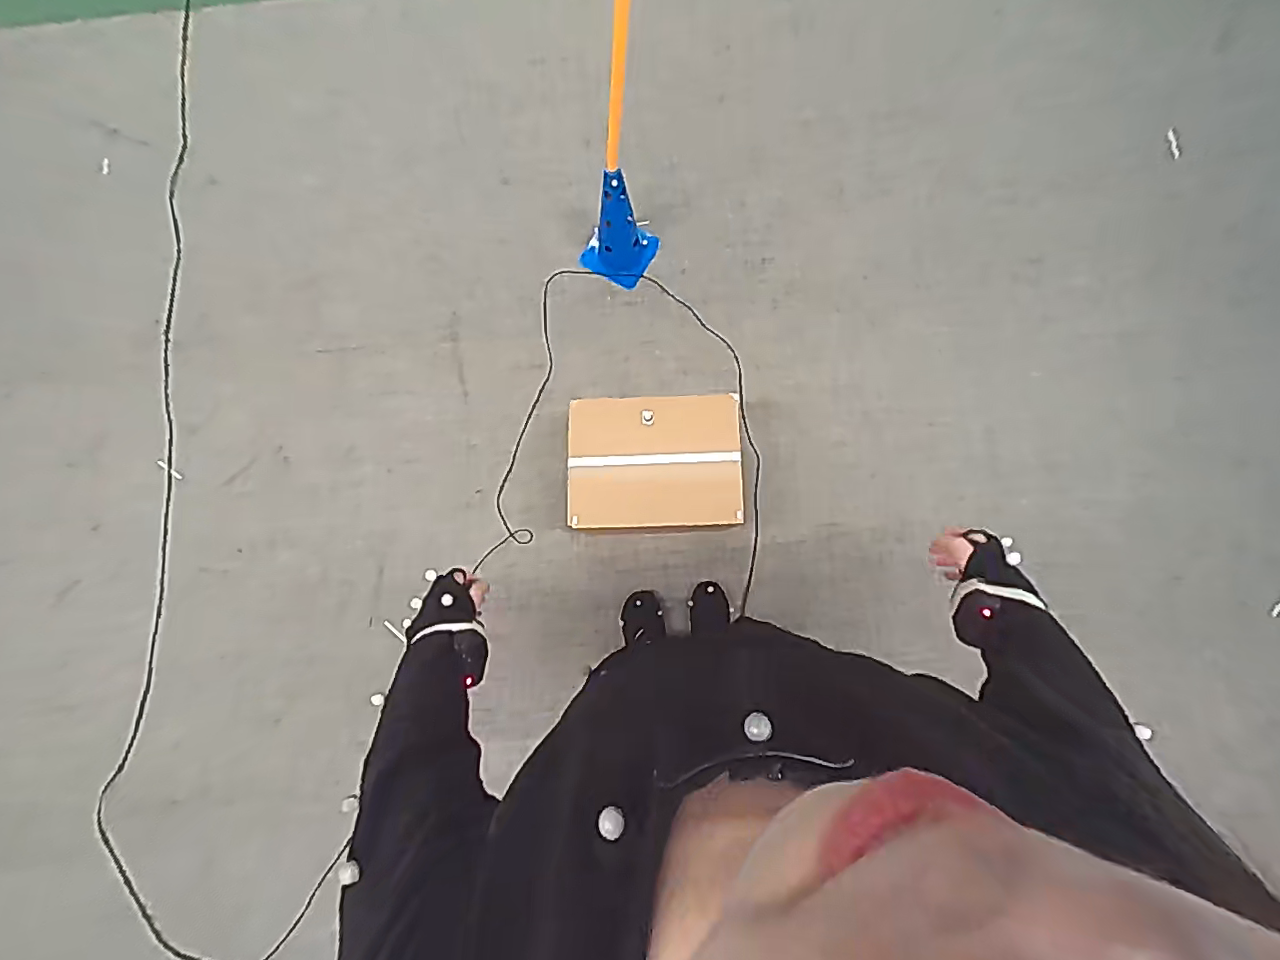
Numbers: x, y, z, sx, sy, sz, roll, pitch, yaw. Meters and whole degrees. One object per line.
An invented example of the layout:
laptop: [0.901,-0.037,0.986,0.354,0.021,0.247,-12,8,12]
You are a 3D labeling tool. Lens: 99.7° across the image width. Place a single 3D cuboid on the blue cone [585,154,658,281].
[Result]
blue cone: [-0.060,-0.750,1.501,0.192,0.380,0.193,28,81,5]
